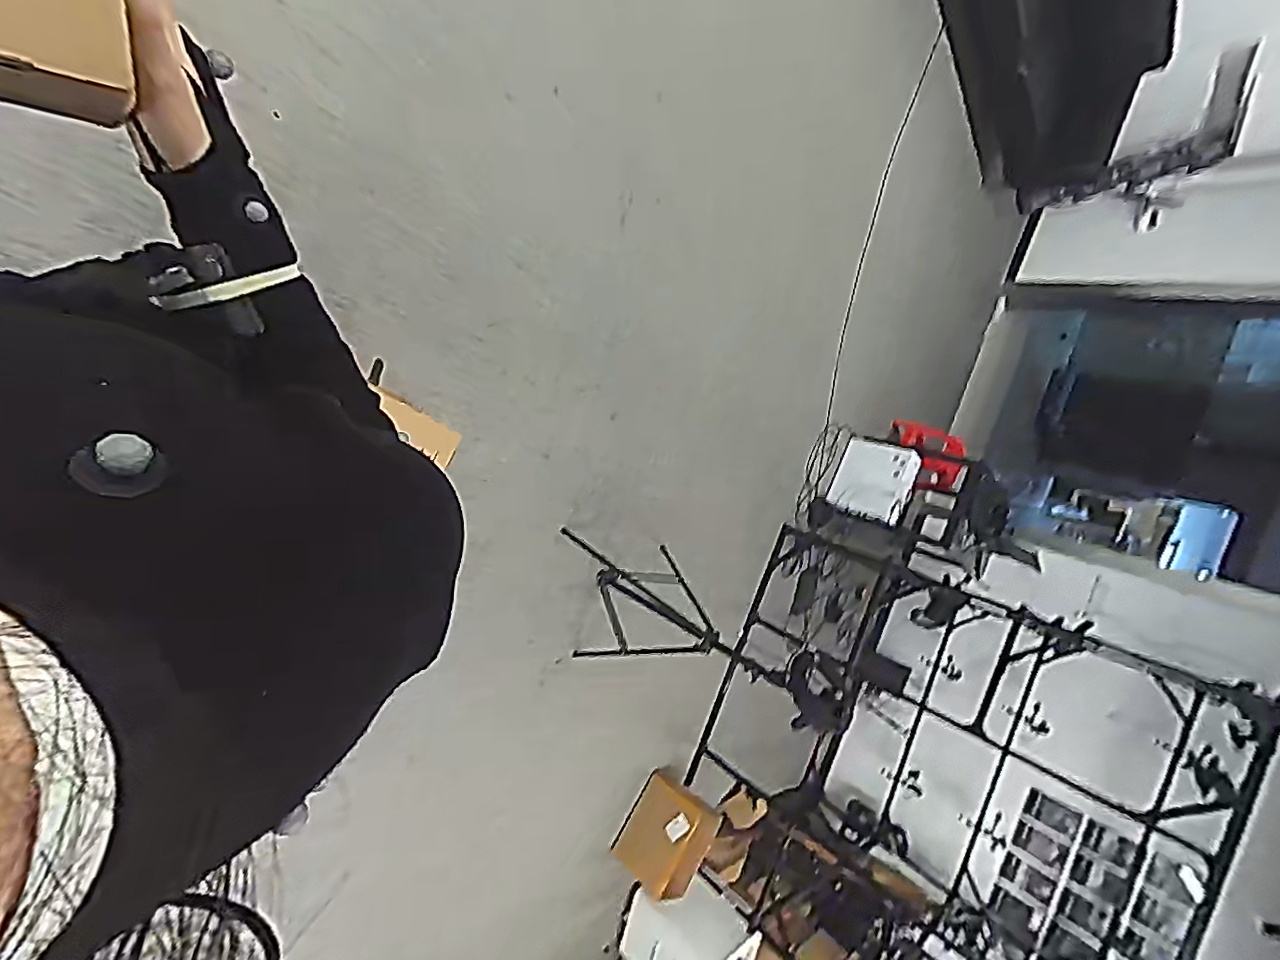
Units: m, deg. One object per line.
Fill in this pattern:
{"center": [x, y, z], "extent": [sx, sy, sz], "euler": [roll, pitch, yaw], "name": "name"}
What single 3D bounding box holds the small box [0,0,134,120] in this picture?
{"center": [-0.332, -0.269, 0.219], "extent": [0.168, 0.176, 0.179], "euler": [-12, 119, -44], "name": "small box"}
